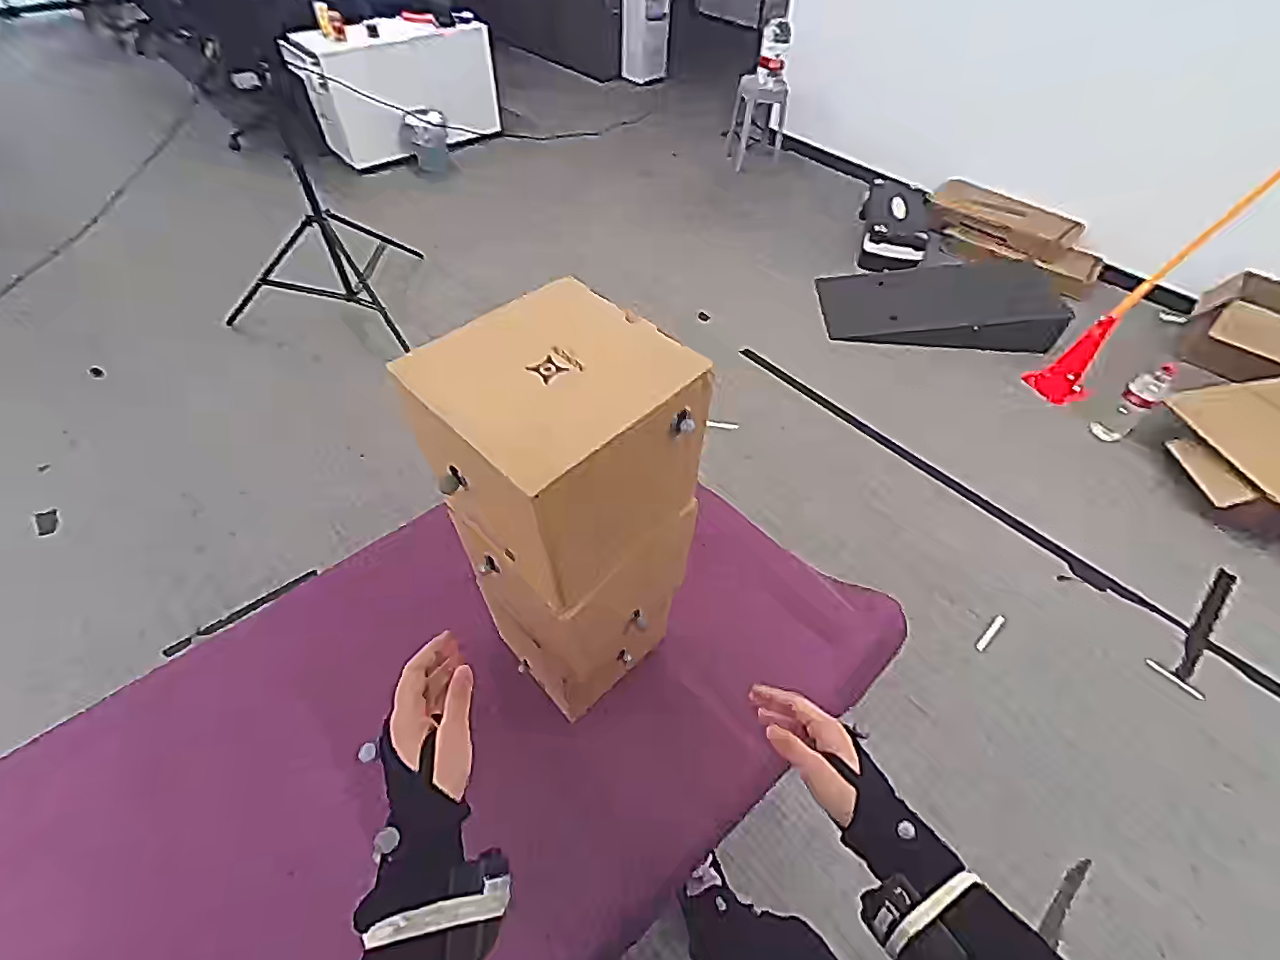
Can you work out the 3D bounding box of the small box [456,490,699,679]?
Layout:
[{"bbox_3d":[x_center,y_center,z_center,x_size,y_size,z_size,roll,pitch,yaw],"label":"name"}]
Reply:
[{"bbox_3d":[-0.062,0.073,0.577,0.168,0.176,0.179,37,58,24],"label":"small box"}]

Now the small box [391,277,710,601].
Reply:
[{"bbox_3d":[-0.064,-0.033,0.453,0.168,0.176,0.179,37,59,24],"label":"small box"}]
